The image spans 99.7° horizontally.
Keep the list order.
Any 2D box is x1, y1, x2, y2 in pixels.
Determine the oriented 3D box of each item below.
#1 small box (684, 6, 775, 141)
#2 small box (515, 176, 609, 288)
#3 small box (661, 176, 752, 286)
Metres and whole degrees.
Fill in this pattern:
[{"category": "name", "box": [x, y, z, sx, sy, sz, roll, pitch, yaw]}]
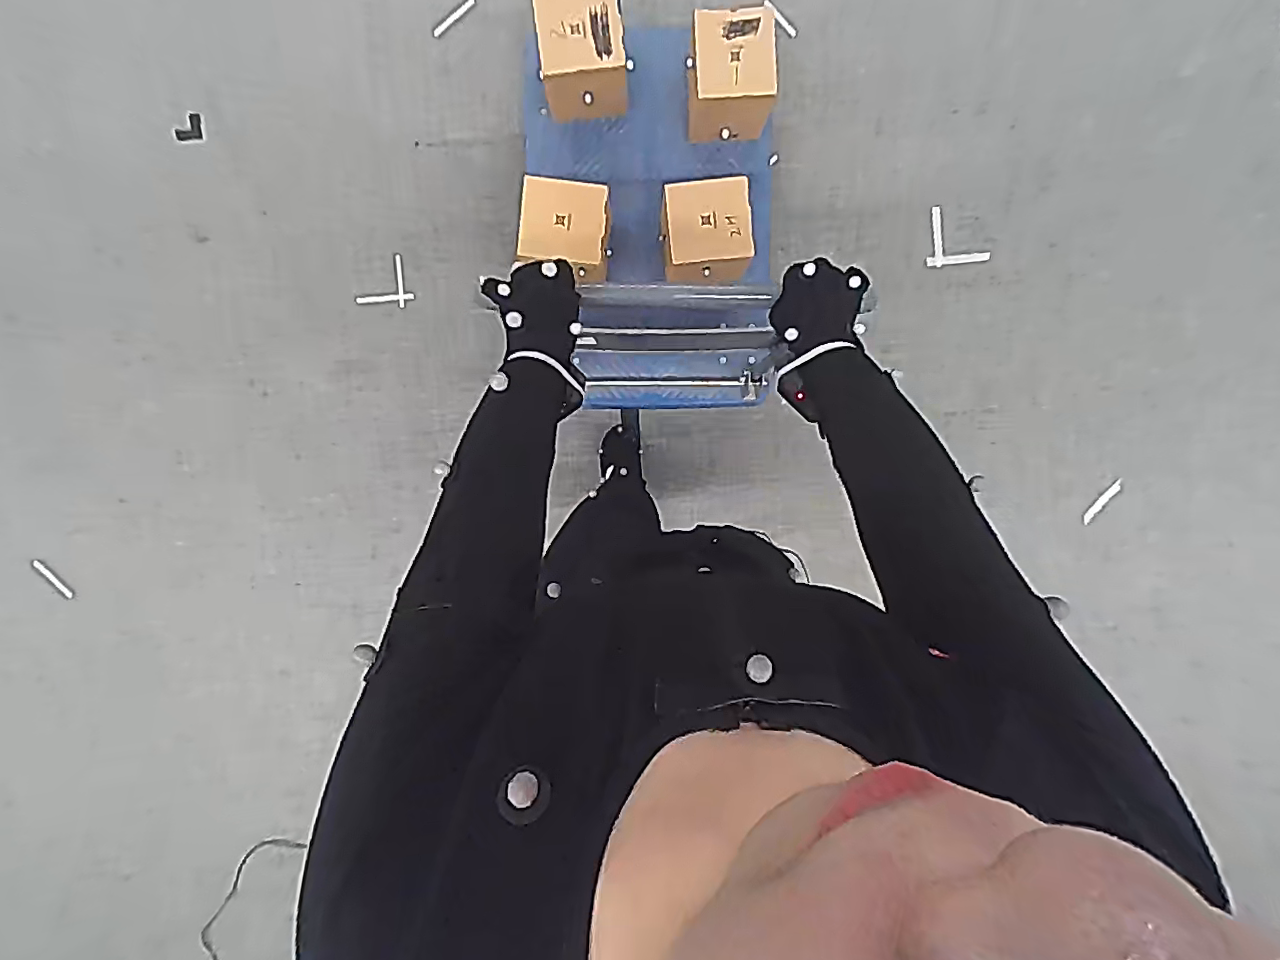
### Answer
[{"category": "small box", "box": [0.189, -0.876, 1.178, 0.168, 0.176, 0.179, -3, 94, 0]}, {"category": "small box", "box": [-0.165, -0.536, 1.191, 0.179, 0.176, 0.168, 5, 92, -3]}, {"category": "small box", "box": [0.139, -0.540, 1.195, 0.179, 0.176, 0.168, -6, 93, 0]}]
